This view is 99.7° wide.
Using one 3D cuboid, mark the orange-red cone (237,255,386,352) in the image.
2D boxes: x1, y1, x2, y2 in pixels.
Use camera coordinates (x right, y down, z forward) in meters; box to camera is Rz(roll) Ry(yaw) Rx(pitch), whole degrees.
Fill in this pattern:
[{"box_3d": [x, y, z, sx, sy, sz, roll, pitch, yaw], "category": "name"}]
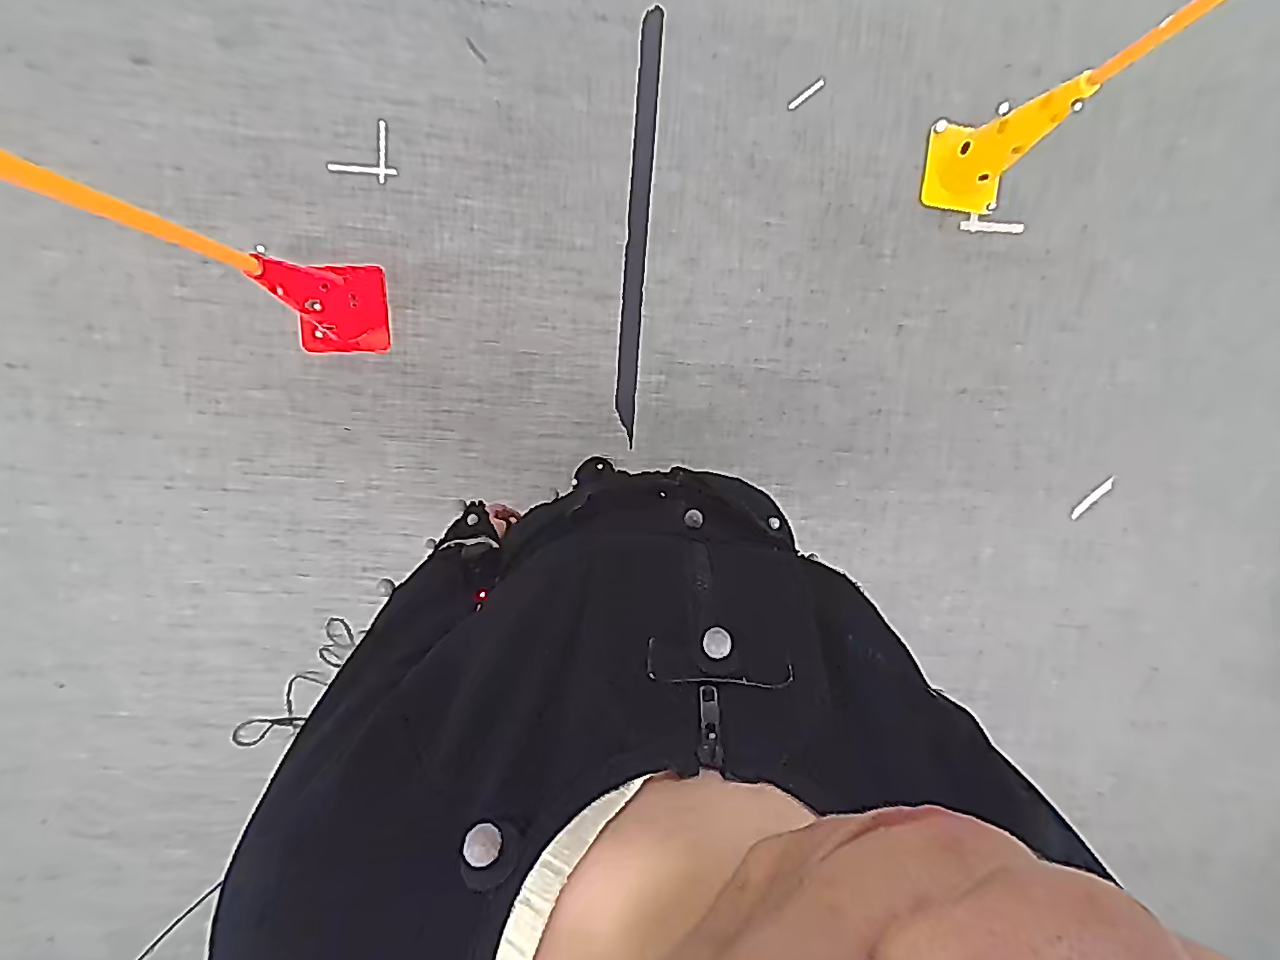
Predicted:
[{"box_3d": [-0.677, -0.380, 1.084, 0.199, 0.360, 0.198, -2, 96, -6], "category": "orange-red cone"}]
